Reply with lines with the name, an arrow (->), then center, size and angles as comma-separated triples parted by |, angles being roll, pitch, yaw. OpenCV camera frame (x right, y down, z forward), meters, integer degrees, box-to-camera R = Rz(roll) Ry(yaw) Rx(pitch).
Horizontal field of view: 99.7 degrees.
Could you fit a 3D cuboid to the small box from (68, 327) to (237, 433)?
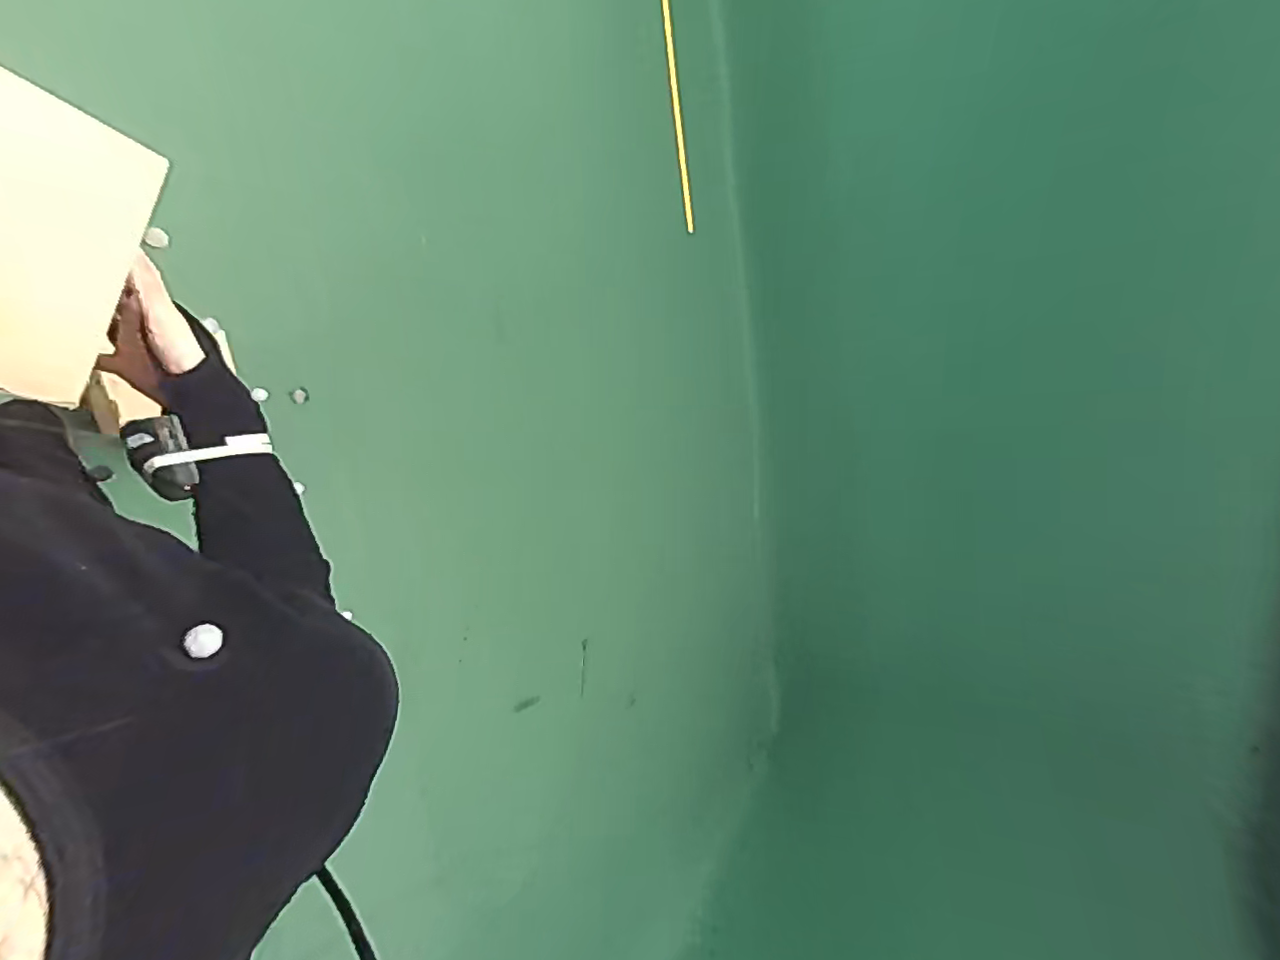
small box -> -0.863, -0.179, 0.960 | 0.179, 0.176, 0.168 | -20, 109, -48
